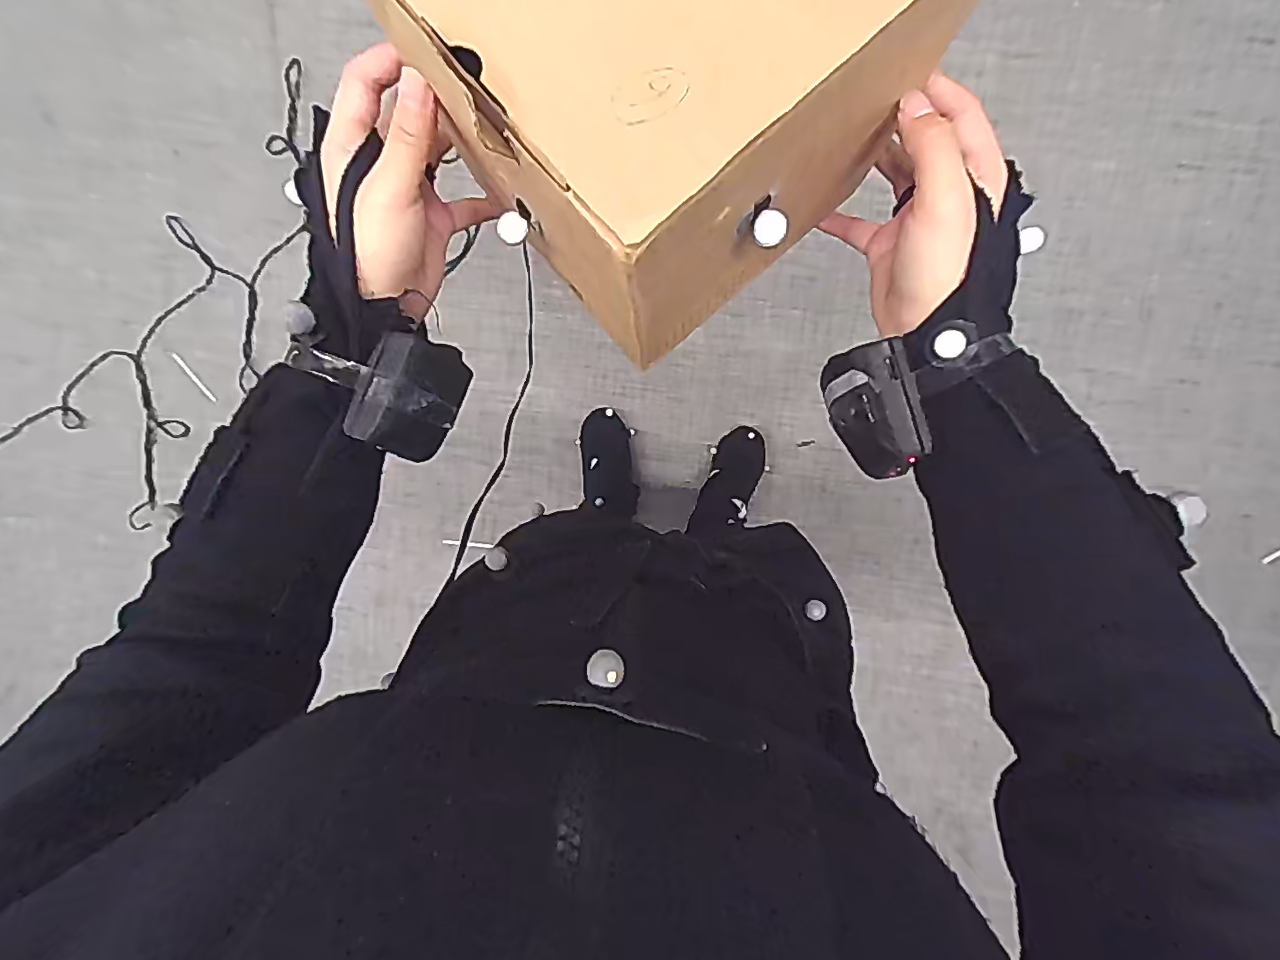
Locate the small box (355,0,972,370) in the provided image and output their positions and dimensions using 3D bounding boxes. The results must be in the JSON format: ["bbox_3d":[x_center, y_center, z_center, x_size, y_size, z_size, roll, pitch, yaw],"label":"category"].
[{"bbox_3d":[0.012,-0.179,0.266,0.179,0.176,0.168,-41,87,2],"label":"small box"}]
